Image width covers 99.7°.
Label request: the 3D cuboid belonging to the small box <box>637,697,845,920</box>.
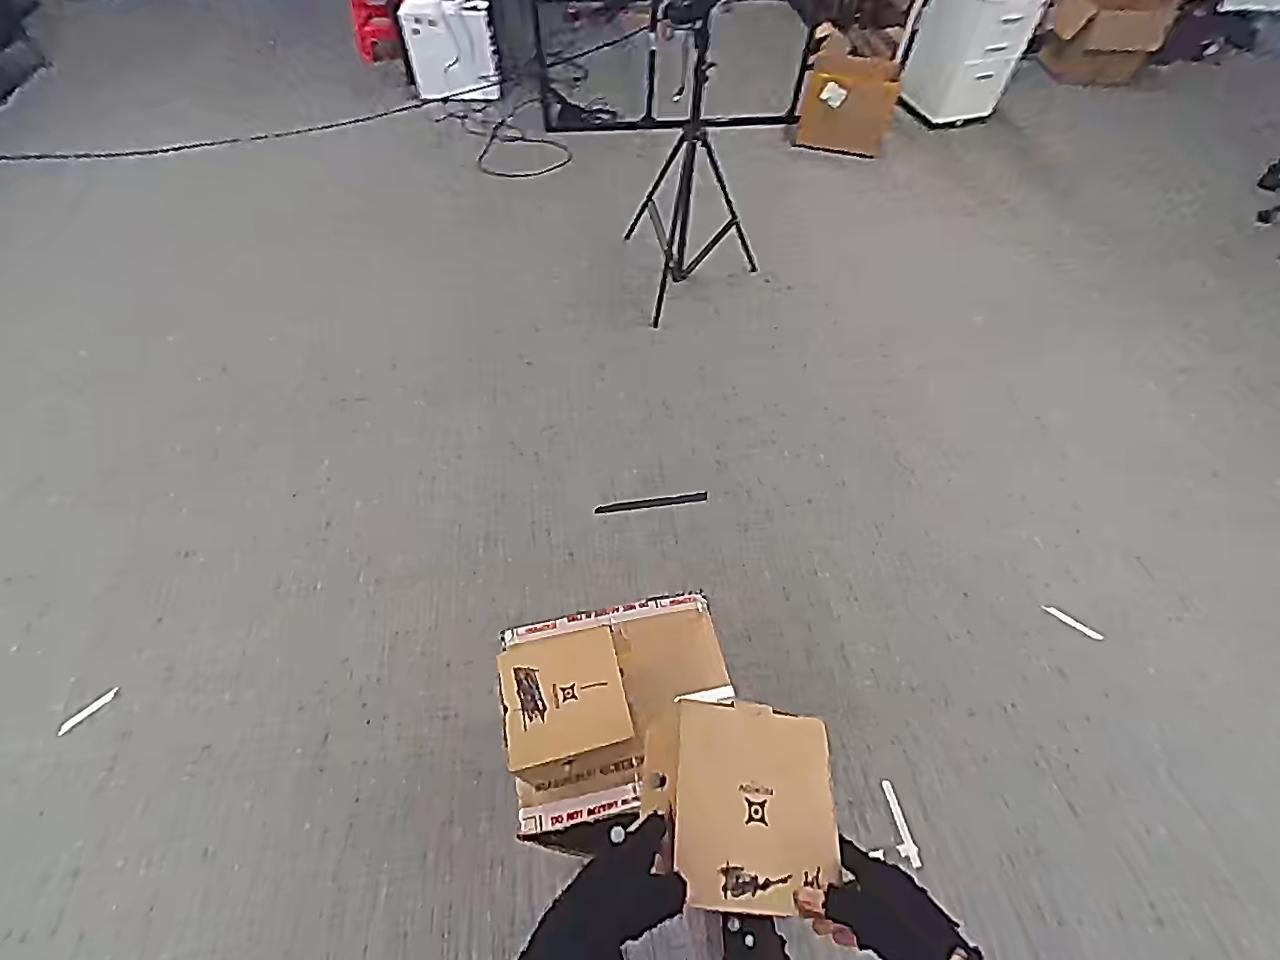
[{"bbox_3d":[0.096,0.358,0.592,0.168,0.176,0.179,11,54,-7],"label":"small box"}]

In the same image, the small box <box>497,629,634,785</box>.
[{"bbox_3d":[-0.110,0.356,0.837,0.179,0.176,0.168,-12,56,-8],"label":"small box"}]
